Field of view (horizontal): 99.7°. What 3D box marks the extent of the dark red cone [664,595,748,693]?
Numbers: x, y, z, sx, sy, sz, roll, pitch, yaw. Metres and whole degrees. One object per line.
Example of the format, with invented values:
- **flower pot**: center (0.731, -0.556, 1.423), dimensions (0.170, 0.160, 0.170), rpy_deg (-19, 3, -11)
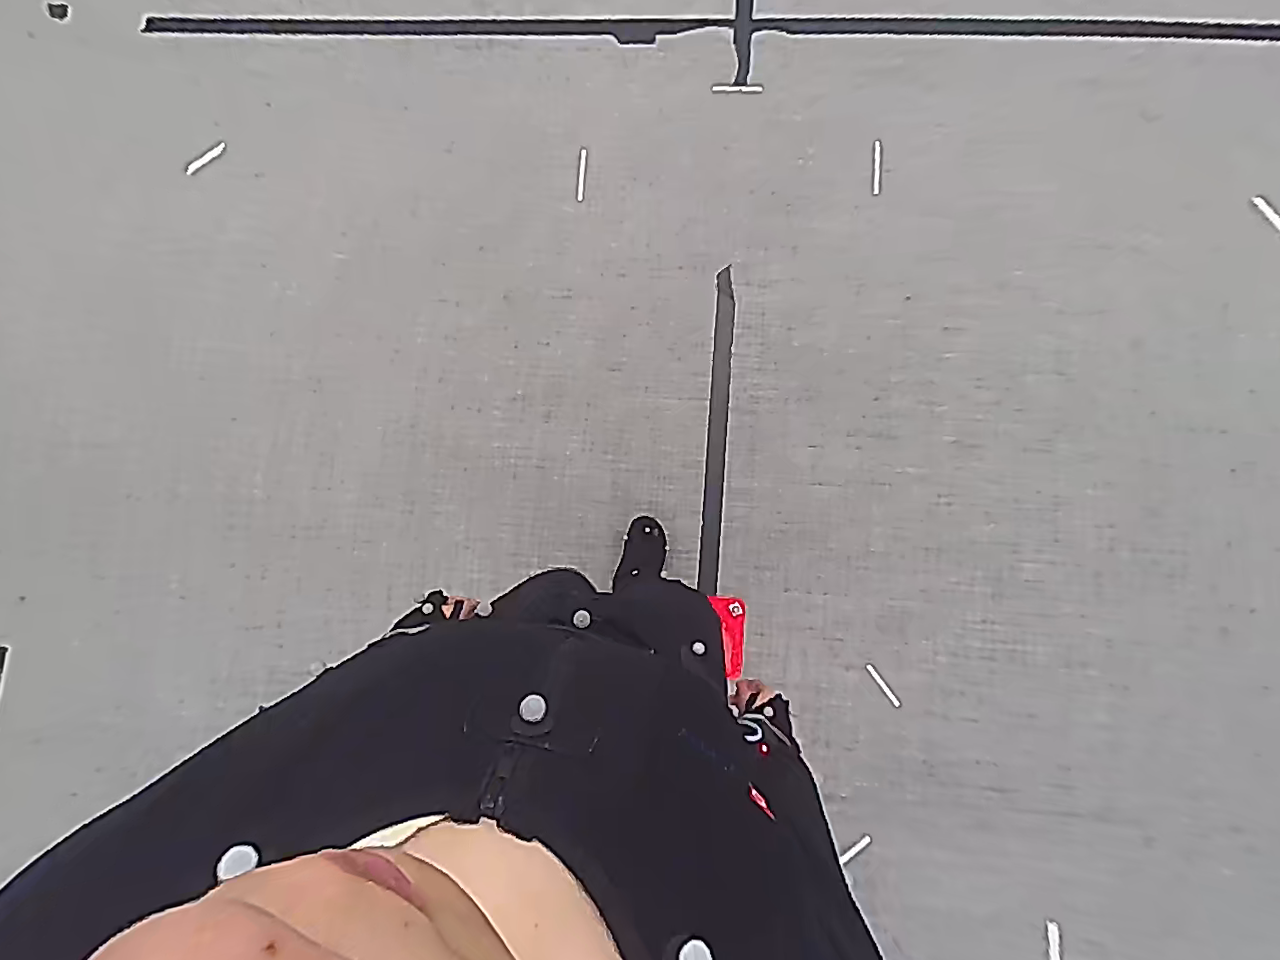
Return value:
- **dark red cone**: center (0.151, 0.373, 1.157), dimensions (0.201, 0.394, 0.202), rpy_deg (3, 85, 4)
